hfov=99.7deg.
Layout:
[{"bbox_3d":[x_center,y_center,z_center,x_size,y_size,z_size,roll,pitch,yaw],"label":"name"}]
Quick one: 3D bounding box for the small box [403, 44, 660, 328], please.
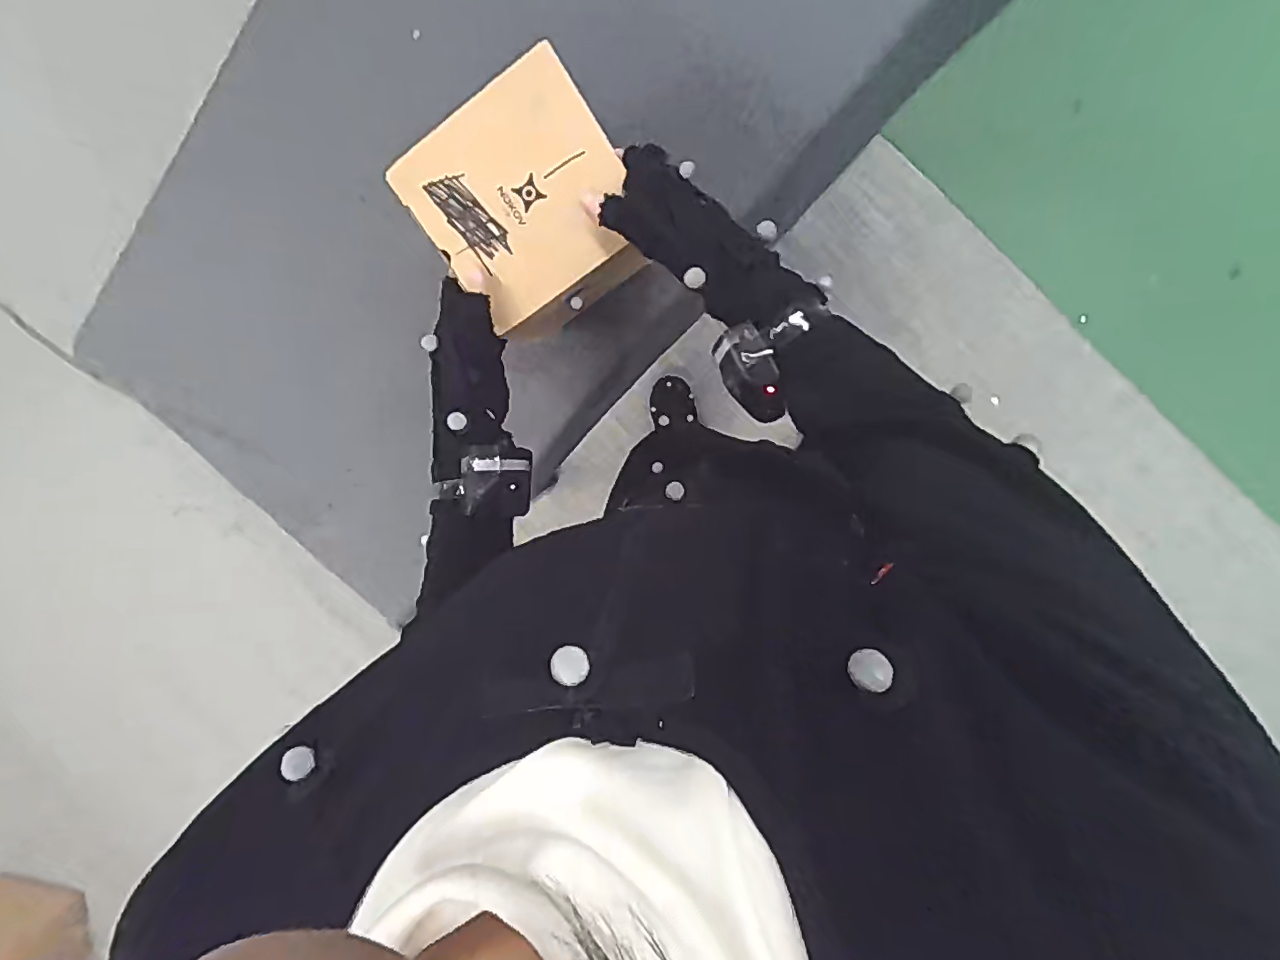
[{"bbox_3d":[-0.090,-0.268,0.548,0.179,0.176,0.168,-31,102,10],"label":"small box"}]
